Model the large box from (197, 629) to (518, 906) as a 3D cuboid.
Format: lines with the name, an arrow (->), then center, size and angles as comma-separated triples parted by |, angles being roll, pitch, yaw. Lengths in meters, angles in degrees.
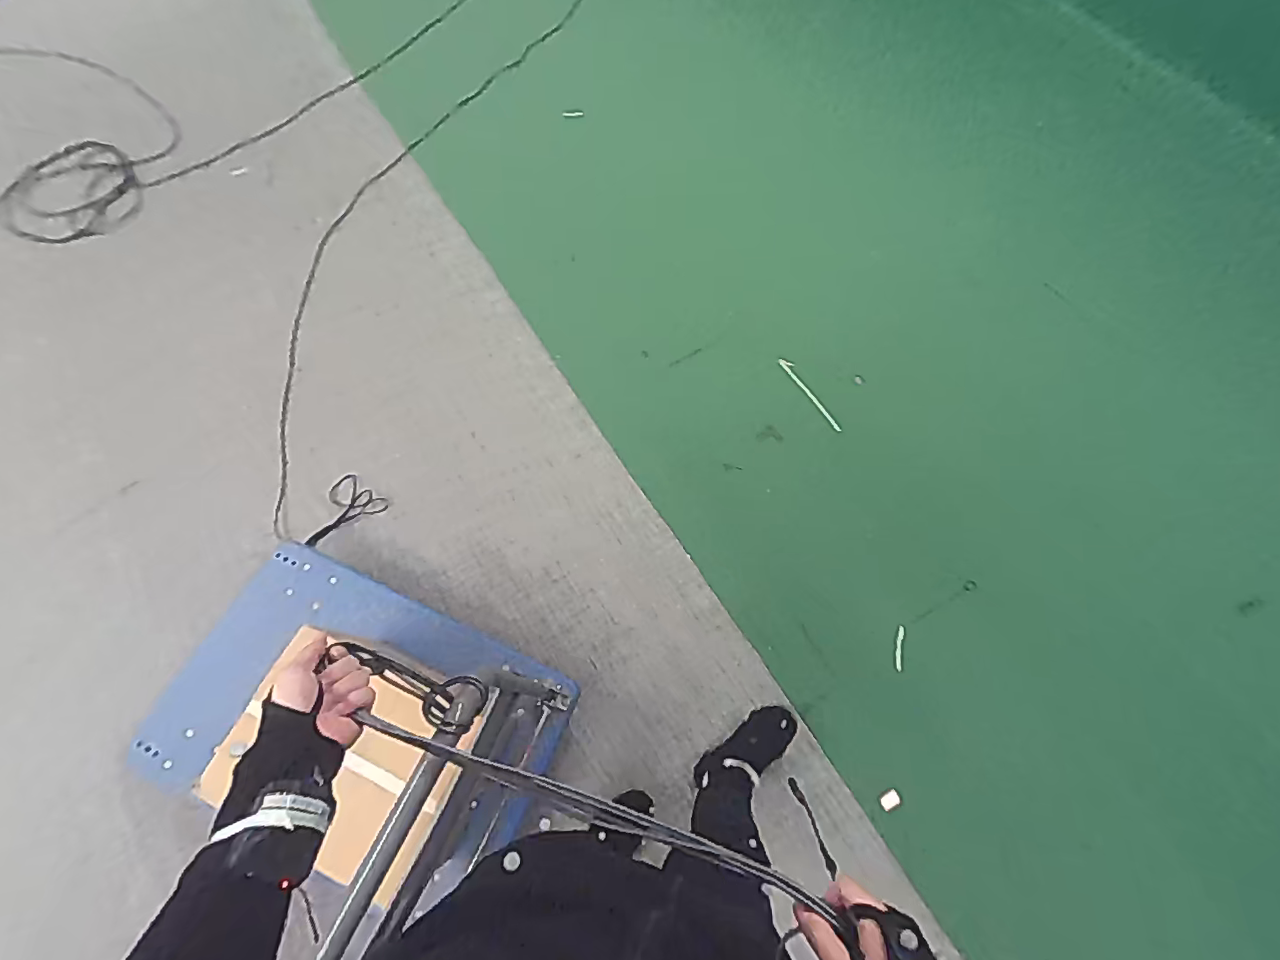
large box -> -0.514, 0.539, 1.079 | 0.408, 0.320, 0.320 | 23, 68, 10
